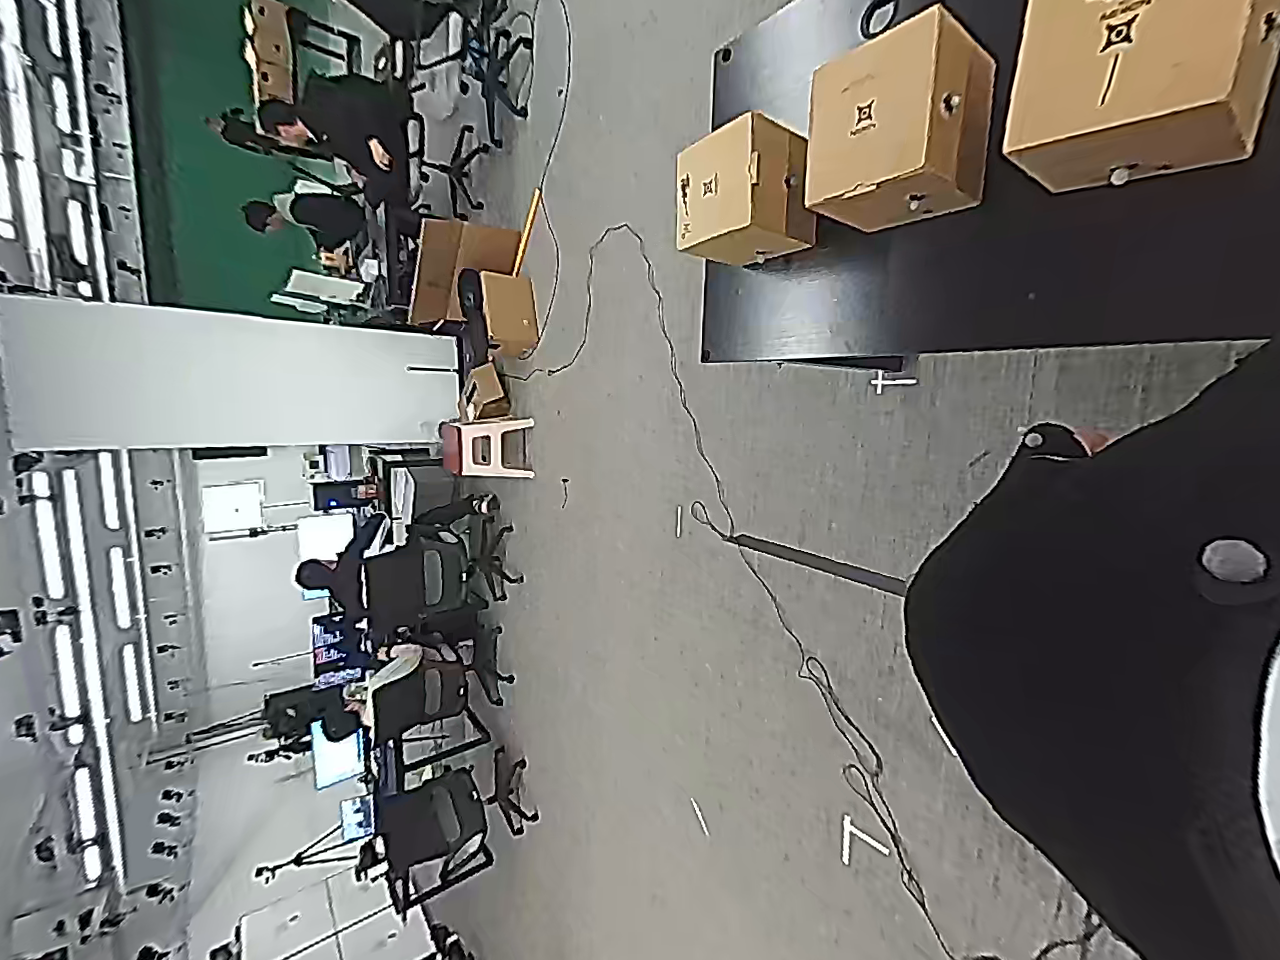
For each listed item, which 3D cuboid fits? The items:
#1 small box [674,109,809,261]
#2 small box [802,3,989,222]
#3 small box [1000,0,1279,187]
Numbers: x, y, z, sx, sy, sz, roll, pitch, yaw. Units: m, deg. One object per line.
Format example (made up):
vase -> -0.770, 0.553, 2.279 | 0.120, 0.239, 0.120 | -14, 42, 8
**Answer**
small box -> 0.177, -0.488, 0.926 | 0.179, 0.176, 0.168 | 9, 101, 51
small box -> 0.339, -0.462, 0.721 | 0.168, 0.176, 0.179 | 11, 102, 51
small box -> 0.490, -0.415, 0.527 | 0.168, 0.176, 0.179 | 18, 109, 50
